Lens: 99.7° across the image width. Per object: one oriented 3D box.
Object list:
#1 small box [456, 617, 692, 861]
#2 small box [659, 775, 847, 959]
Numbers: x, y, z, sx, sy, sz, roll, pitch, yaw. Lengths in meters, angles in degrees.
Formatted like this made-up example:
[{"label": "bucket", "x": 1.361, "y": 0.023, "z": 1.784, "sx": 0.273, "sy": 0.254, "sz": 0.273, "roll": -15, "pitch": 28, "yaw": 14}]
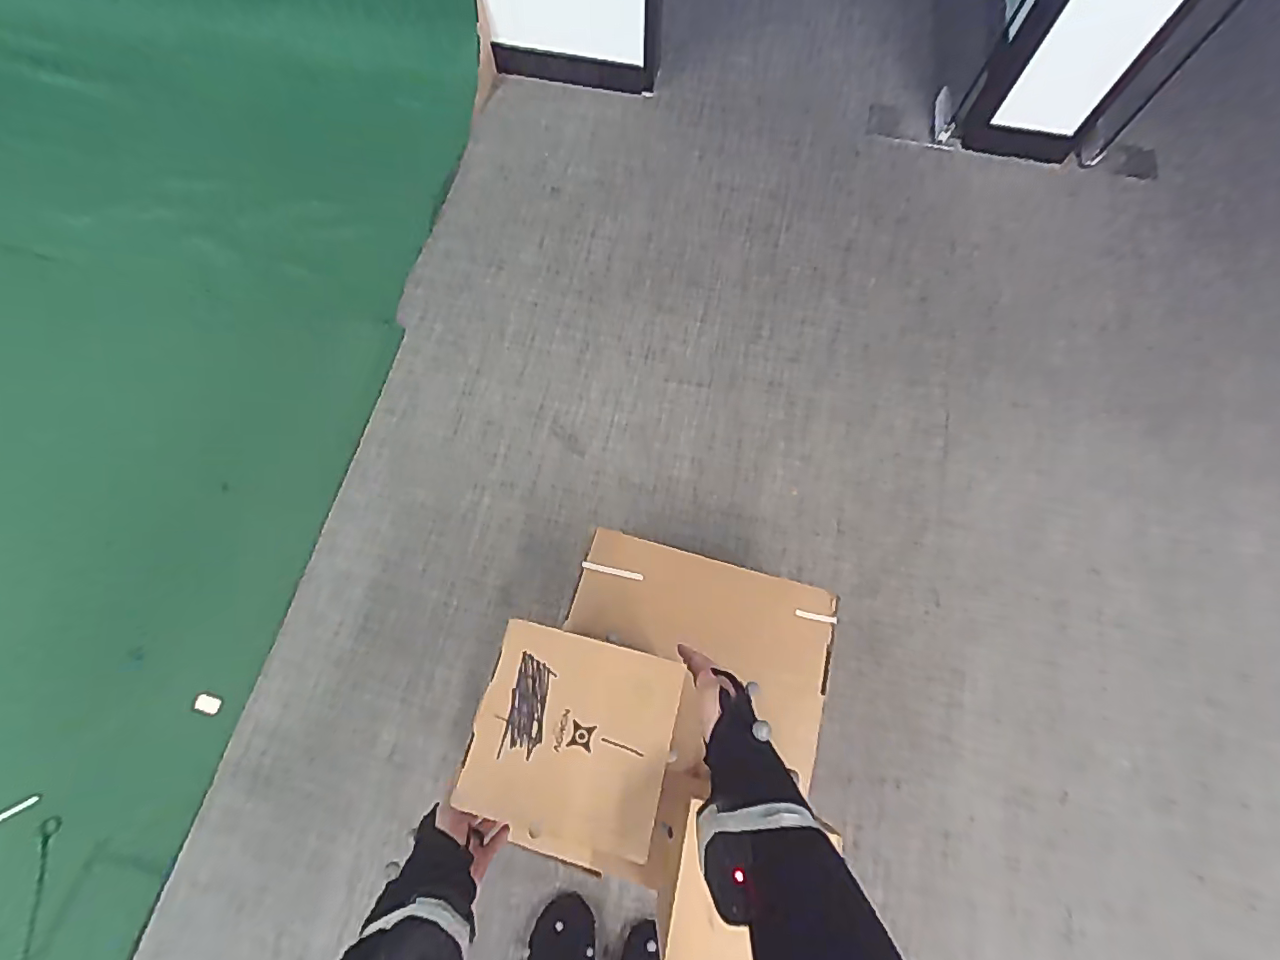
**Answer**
[{"label": "small box", "x": -0.056, "y": 0.252, "z": 0.555, "sx": 0.179, "sy": 0.176, "sz": 0.168, "roll": 14, "pitch": 70, "yaw": 4}, {"label": "small box", "x": 0.127, "y": 0.474, "z": 0.654, "sx": 0.179, "sy": 0.176, "sz": 0.168, "roll": 12, "pitch": 70, "yaw": 3}]
